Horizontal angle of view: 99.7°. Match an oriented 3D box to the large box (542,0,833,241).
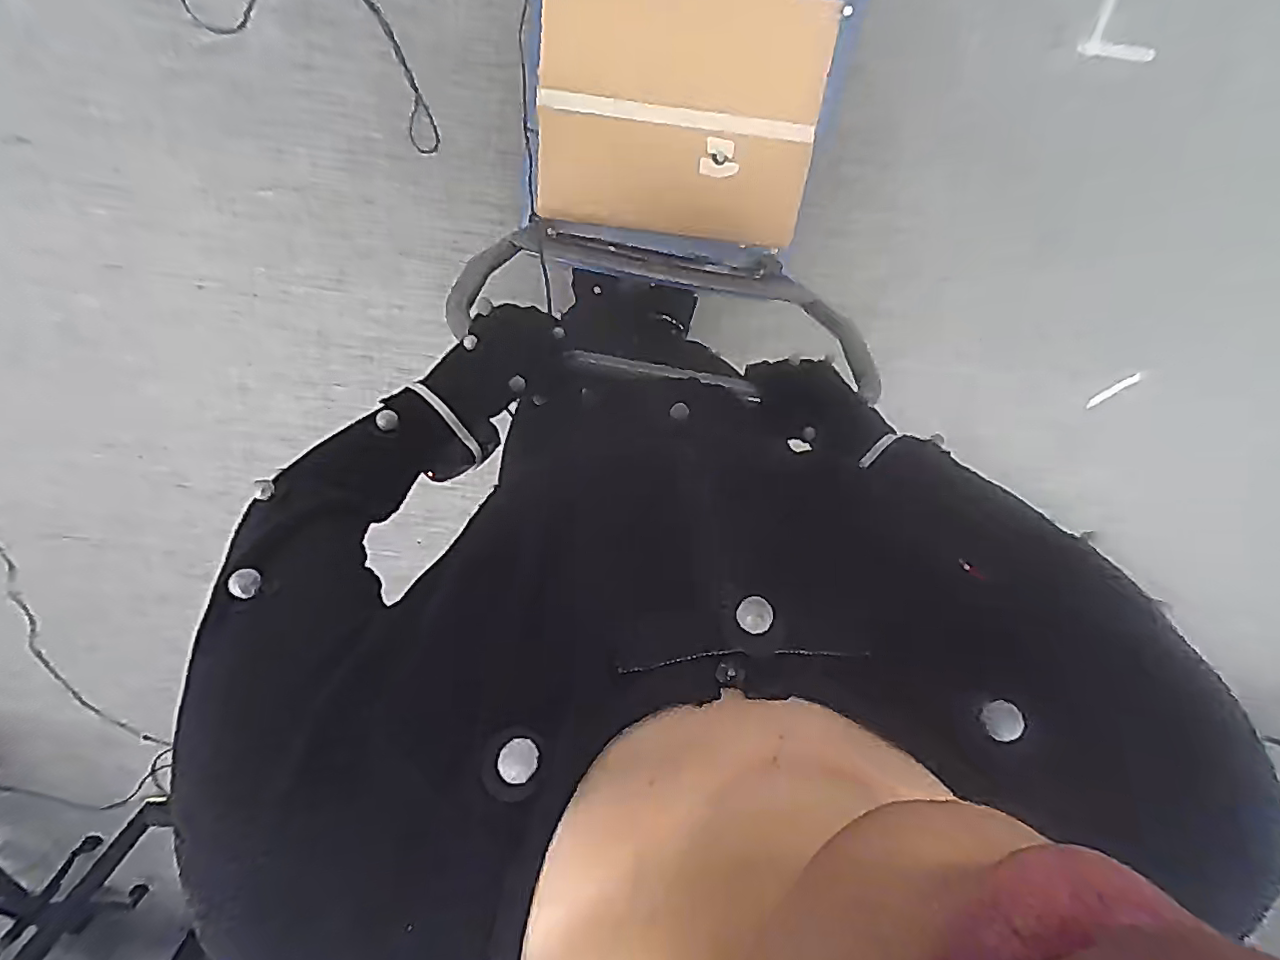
[{"bbox_3d":[0.050,-0.605,0.932,0.408,0.320,0.320,5,117,-5],"label":"large box"}]
